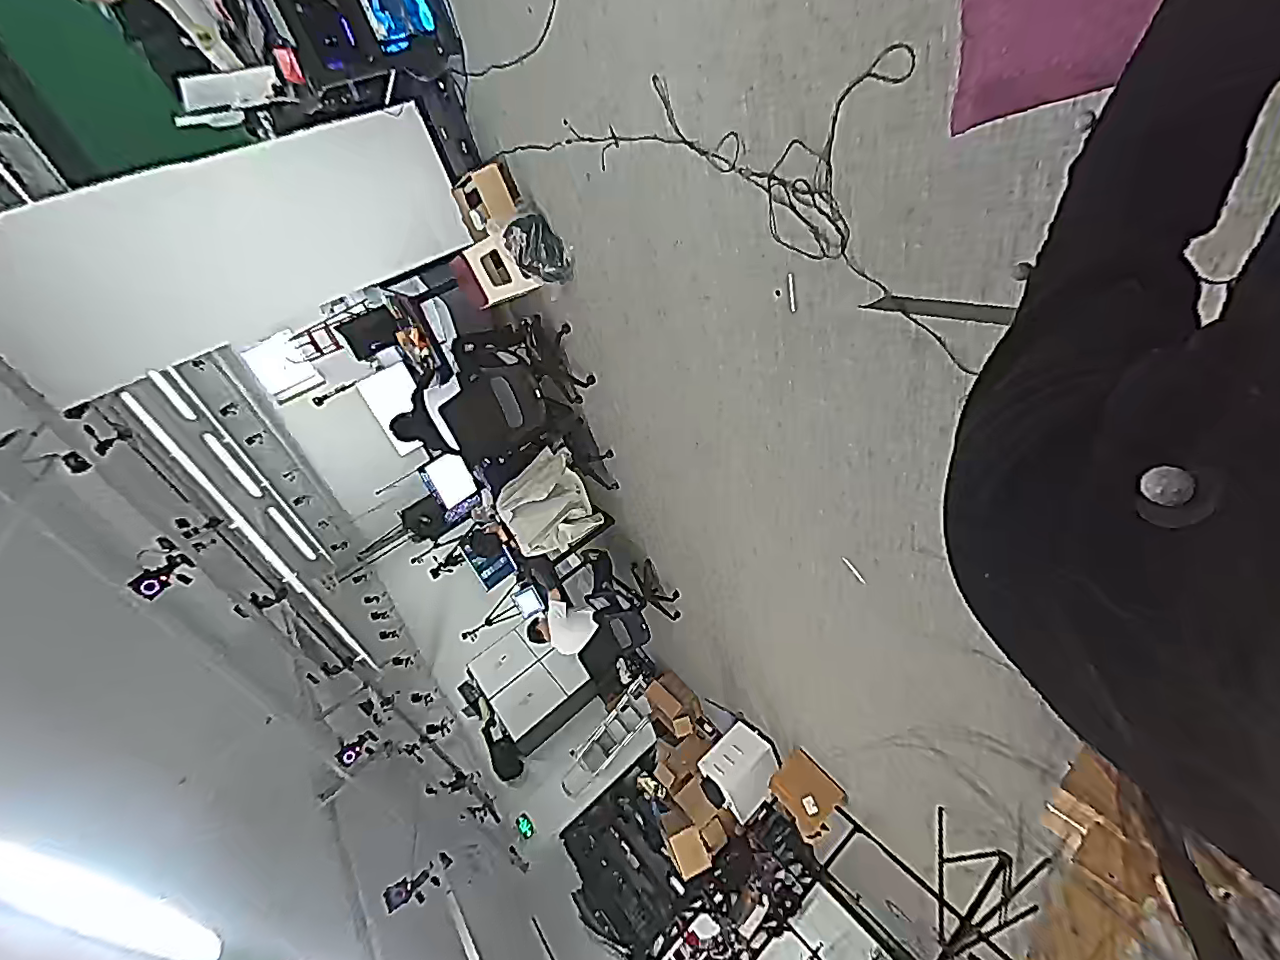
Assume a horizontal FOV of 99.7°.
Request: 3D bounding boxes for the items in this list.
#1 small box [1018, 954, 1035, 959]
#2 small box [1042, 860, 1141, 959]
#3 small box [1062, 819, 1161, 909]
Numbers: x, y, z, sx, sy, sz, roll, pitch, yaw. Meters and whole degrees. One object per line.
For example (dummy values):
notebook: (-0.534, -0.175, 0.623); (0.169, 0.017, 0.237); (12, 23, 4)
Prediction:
small box: (1.094, 1.461, 1.485); (0.168, 0.176, 0.179); (31, 147, 45)
small box: (1.345, 1.293, 1.613); (0.168, 0.176, 0.179); (29, 145, 47)
small box: (1.468, 1.212, 1.683); (0.179, 0.176, 0.168); (30, 146, 48)
